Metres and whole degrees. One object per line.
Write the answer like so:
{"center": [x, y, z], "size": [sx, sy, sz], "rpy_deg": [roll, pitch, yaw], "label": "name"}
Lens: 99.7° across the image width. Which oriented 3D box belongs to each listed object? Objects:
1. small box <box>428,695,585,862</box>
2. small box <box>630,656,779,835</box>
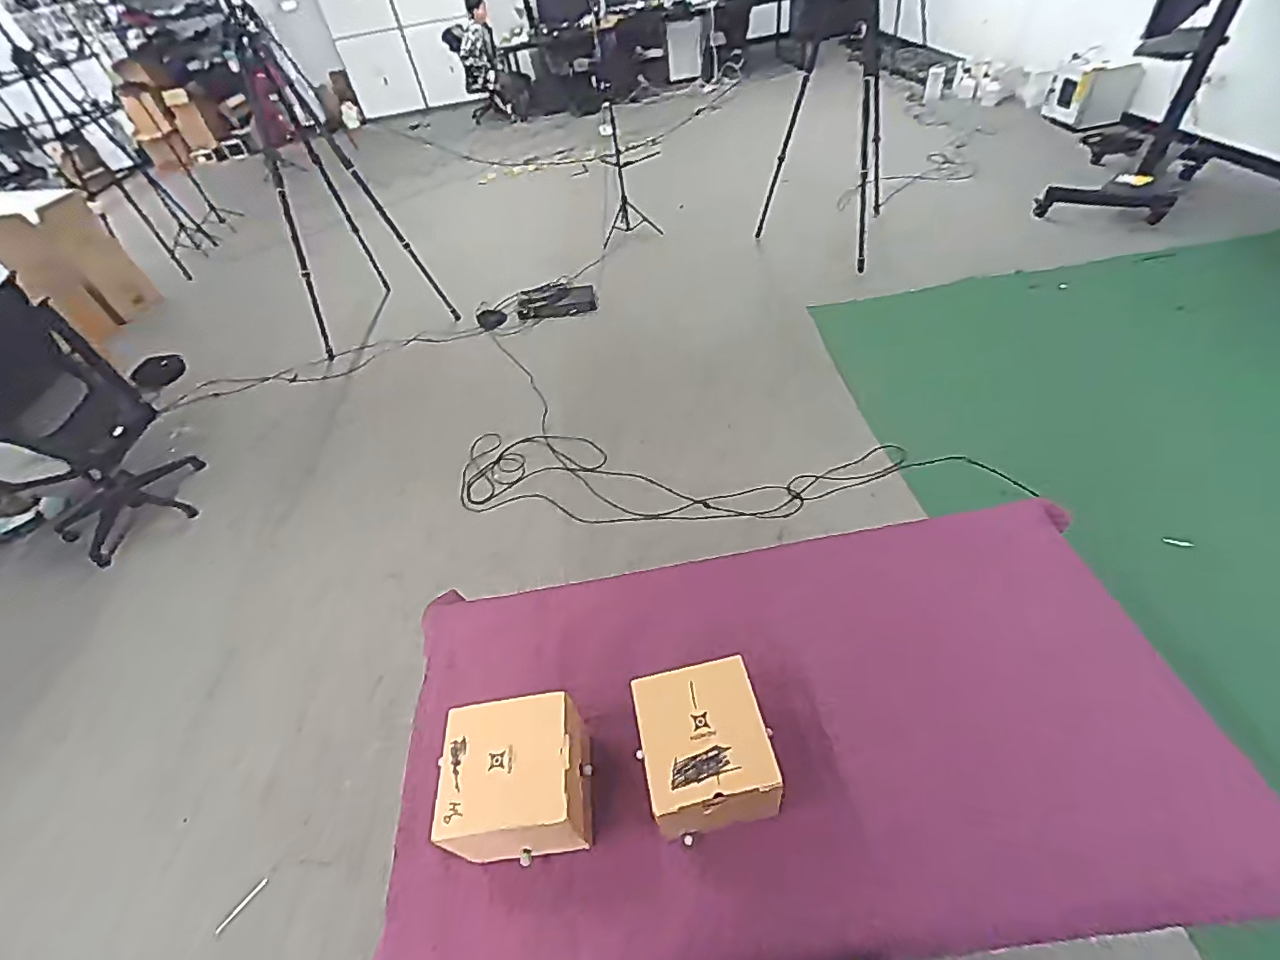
{"center": [-0.174, 0.429, 0.774], "size": [0.179, 0.176, 0.168], "rpy_deg": [-8, 46, 0], "label": "small box"}
{"center": [0.089, 0.384, 0.772], "size": [0.168, 0.176, 0.179], "rpy_deg": [-12, 46, -2], "label": "small box"}
